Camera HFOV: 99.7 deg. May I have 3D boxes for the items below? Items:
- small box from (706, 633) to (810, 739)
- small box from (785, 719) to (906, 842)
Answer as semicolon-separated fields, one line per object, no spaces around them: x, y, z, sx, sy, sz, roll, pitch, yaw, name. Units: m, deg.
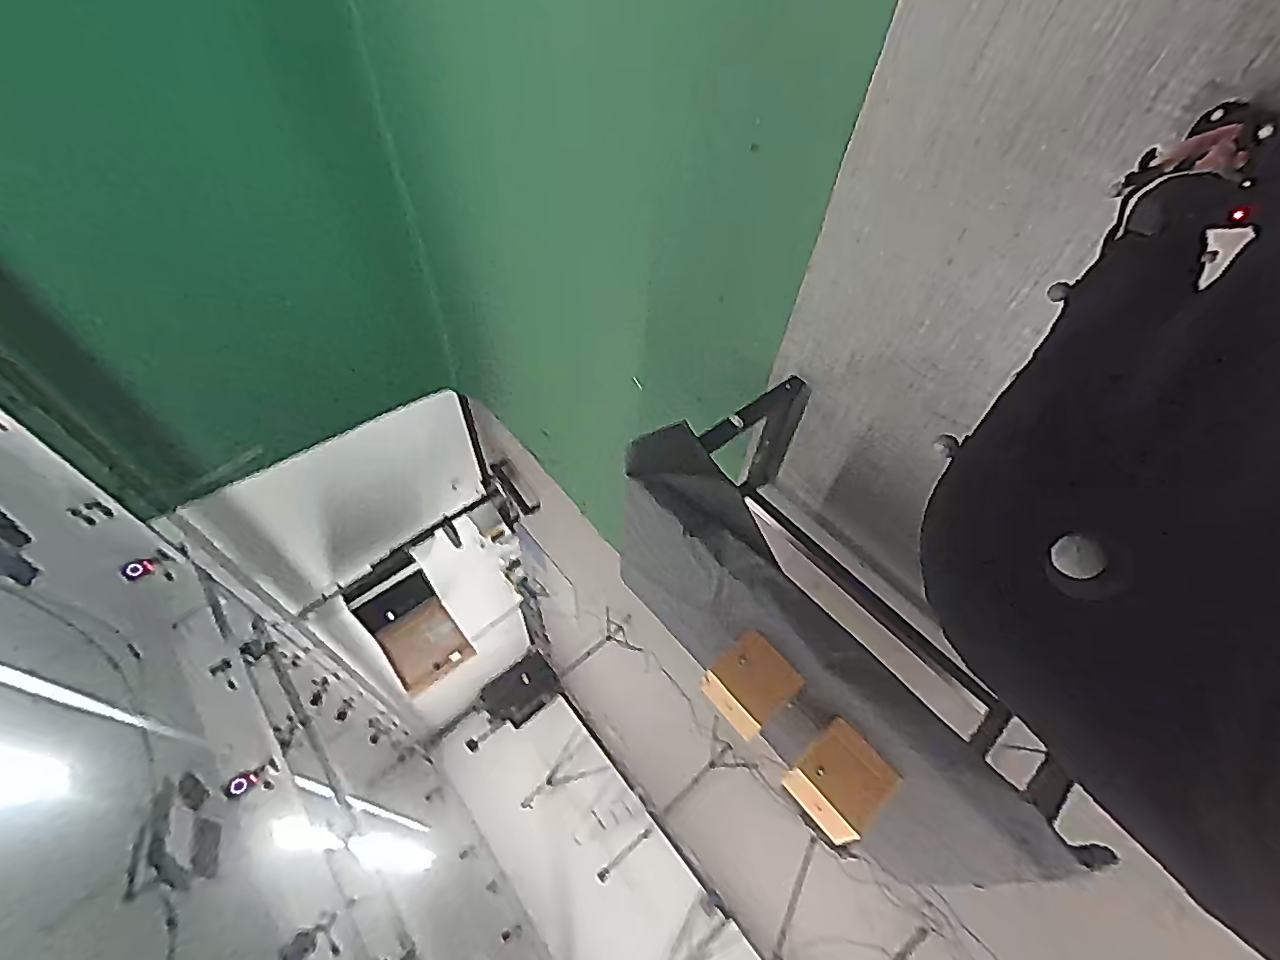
0.295;0.515;1.374;0.179;0.176;0.168;43;153;26;small box
0.474;0.694;1.253;0.179;0.176;0.168;45;153;27;small box
